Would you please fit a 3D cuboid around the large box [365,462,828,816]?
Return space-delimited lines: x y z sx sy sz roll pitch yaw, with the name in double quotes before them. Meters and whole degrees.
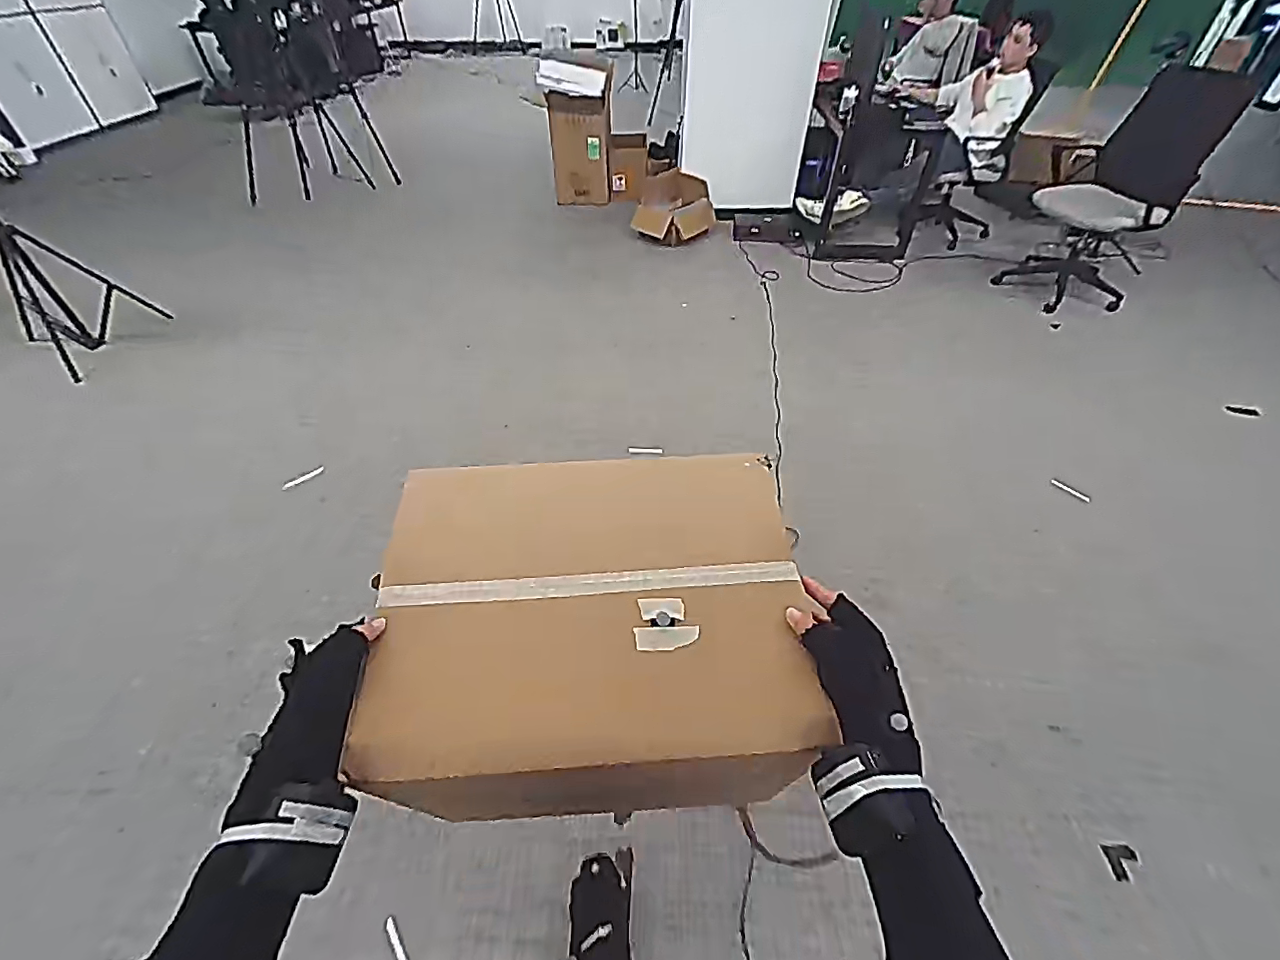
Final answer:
"large box" -0.046 0.200 0.664 0.408 0.320 0.320 -3 53 -3
